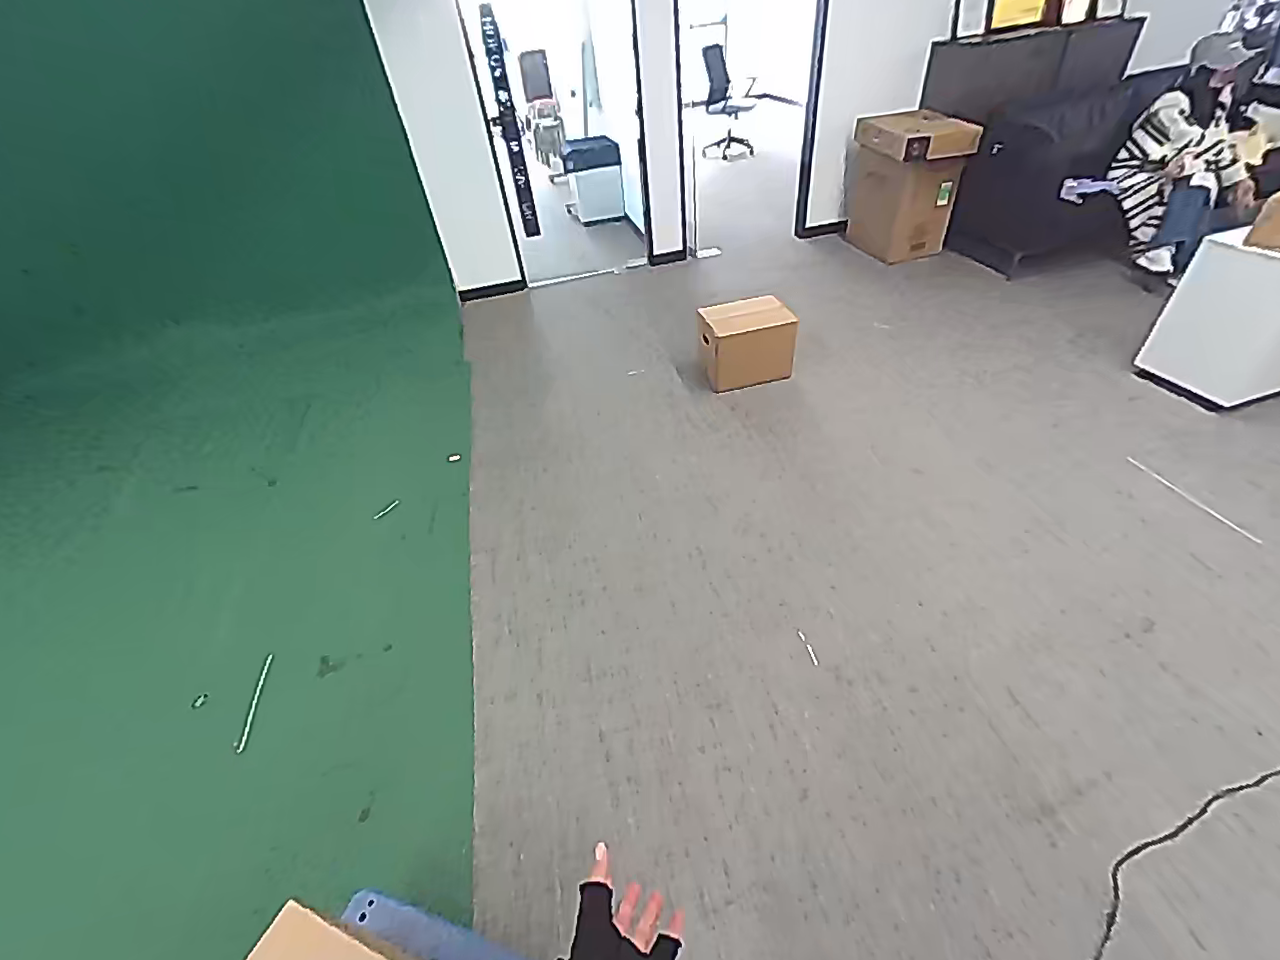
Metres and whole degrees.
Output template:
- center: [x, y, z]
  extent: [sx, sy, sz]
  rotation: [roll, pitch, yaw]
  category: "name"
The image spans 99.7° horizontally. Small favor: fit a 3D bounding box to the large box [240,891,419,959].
- center: [-0.416, 0.890, 0.783]
  extent: [0.408, 0.320, 0.320]
  rotation: [13, 45, 19]
  category: "large box"
